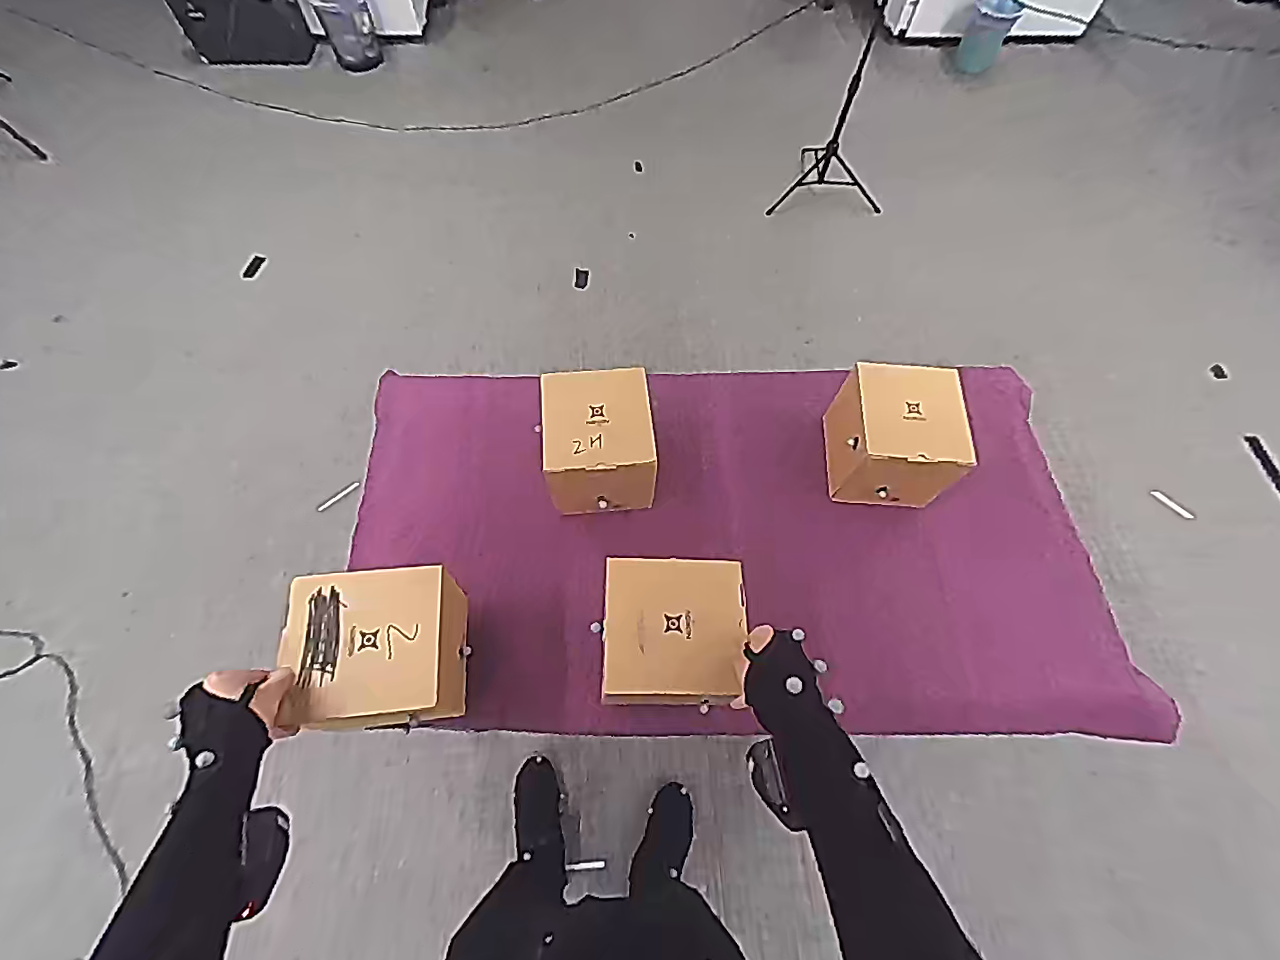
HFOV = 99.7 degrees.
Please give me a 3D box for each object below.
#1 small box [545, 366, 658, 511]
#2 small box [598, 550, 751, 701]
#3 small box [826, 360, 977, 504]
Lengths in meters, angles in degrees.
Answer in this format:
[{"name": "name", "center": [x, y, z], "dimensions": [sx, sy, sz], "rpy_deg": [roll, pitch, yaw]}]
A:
[{"name": "small box", "center": [-0.065, -0.064, 0.888], "dimensions": [0.168, 0.176, 0.179], "rpy_deg": [-4, 64, -4]}, {"name": "small box", "center": [0.037, 0.203, 0.732], "dimensions": [0.179, 0.176, 0.168], "rpy_deg": [3, 63, -5]}, {"name": "small box", "center": [0.422, -0.076, 0.909], "dimensions": [0.168, 0.176, 0.179], "rpy_deg": [4, 65, 1]}]
